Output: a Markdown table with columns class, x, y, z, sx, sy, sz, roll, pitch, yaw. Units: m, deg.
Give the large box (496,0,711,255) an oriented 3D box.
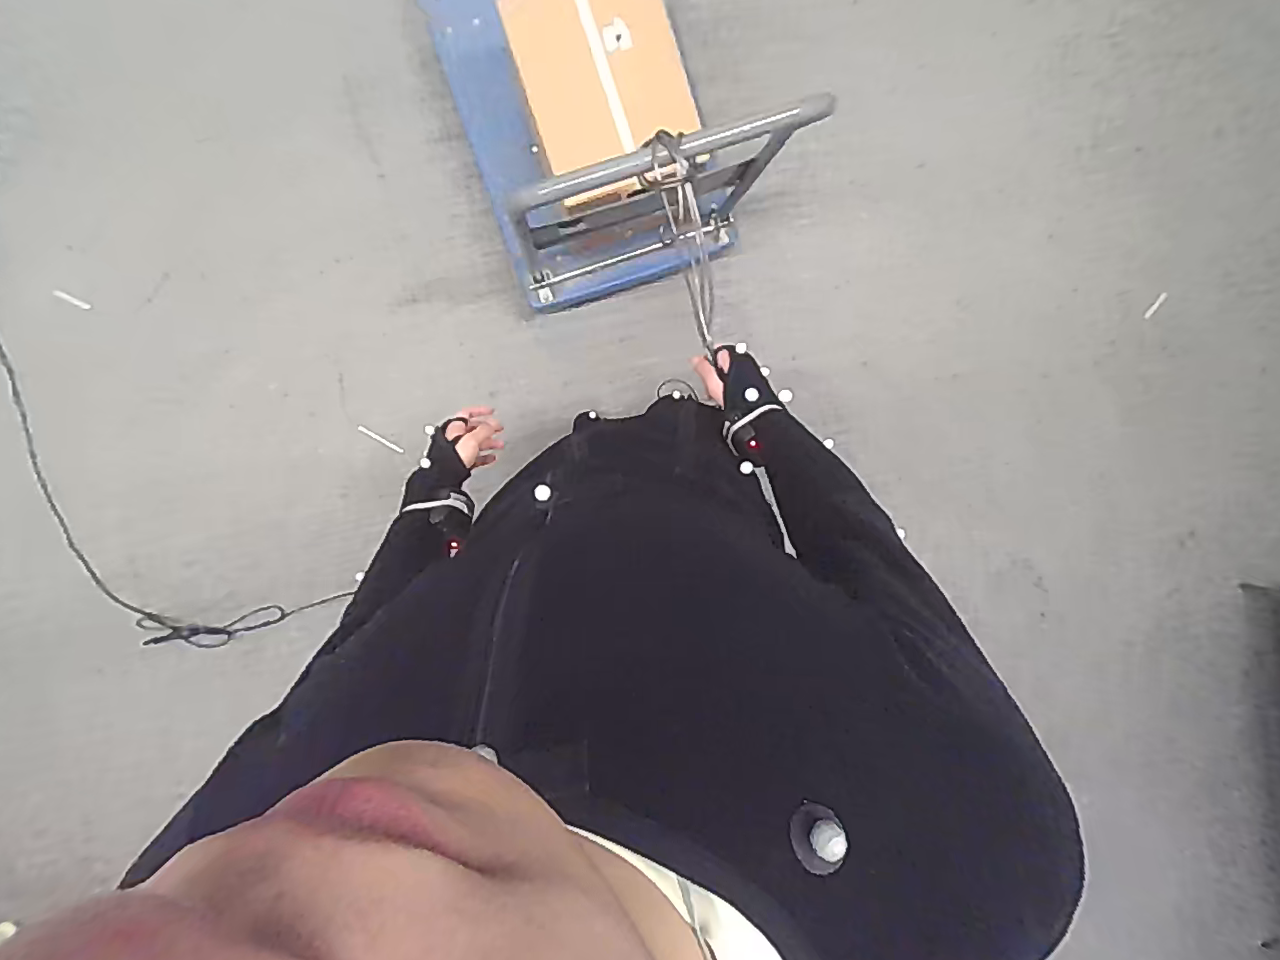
| class | x | y | z | sx | sy | sz | roll | pitch | yaw |
| --- | --- | --- | --- | --- | --- | --- | --- | --- | --- |
| large box | -0.073 | -0.784 | 1.197 | 0.320 | 0.320 | 0.408 | -19 | 97 | -3 |
